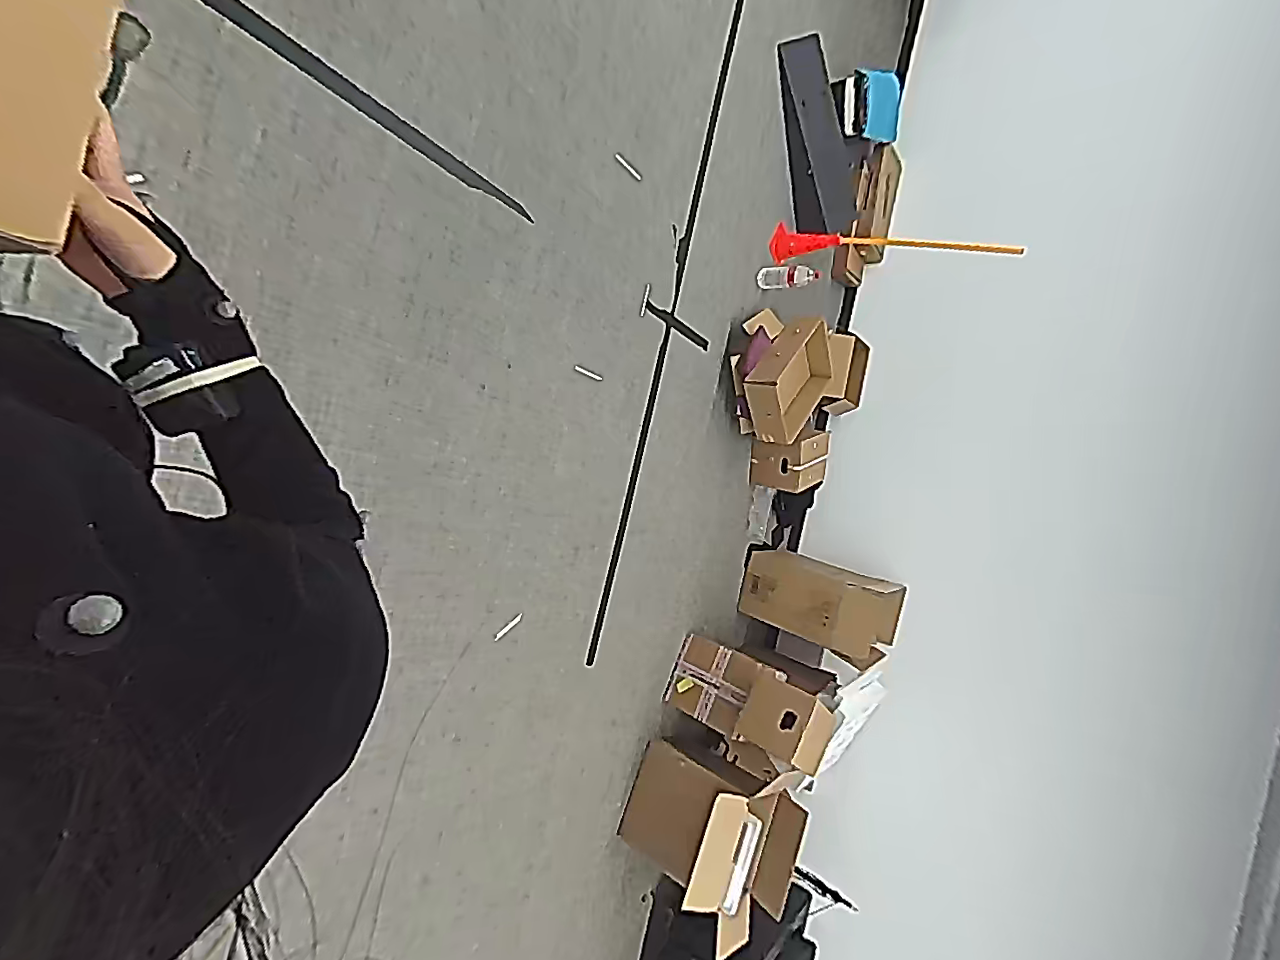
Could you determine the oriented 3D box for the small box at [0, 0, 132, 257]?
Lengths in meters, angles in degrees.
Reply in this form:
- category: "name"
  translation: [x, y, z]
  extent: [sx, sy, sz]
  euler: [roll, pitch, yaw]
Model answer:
- category: "small box"
  translation: [-0.373, -0.220, 0.238]
  extent: [0.168, 0.176, 0.179]
  euler: [13, 91, -61]
